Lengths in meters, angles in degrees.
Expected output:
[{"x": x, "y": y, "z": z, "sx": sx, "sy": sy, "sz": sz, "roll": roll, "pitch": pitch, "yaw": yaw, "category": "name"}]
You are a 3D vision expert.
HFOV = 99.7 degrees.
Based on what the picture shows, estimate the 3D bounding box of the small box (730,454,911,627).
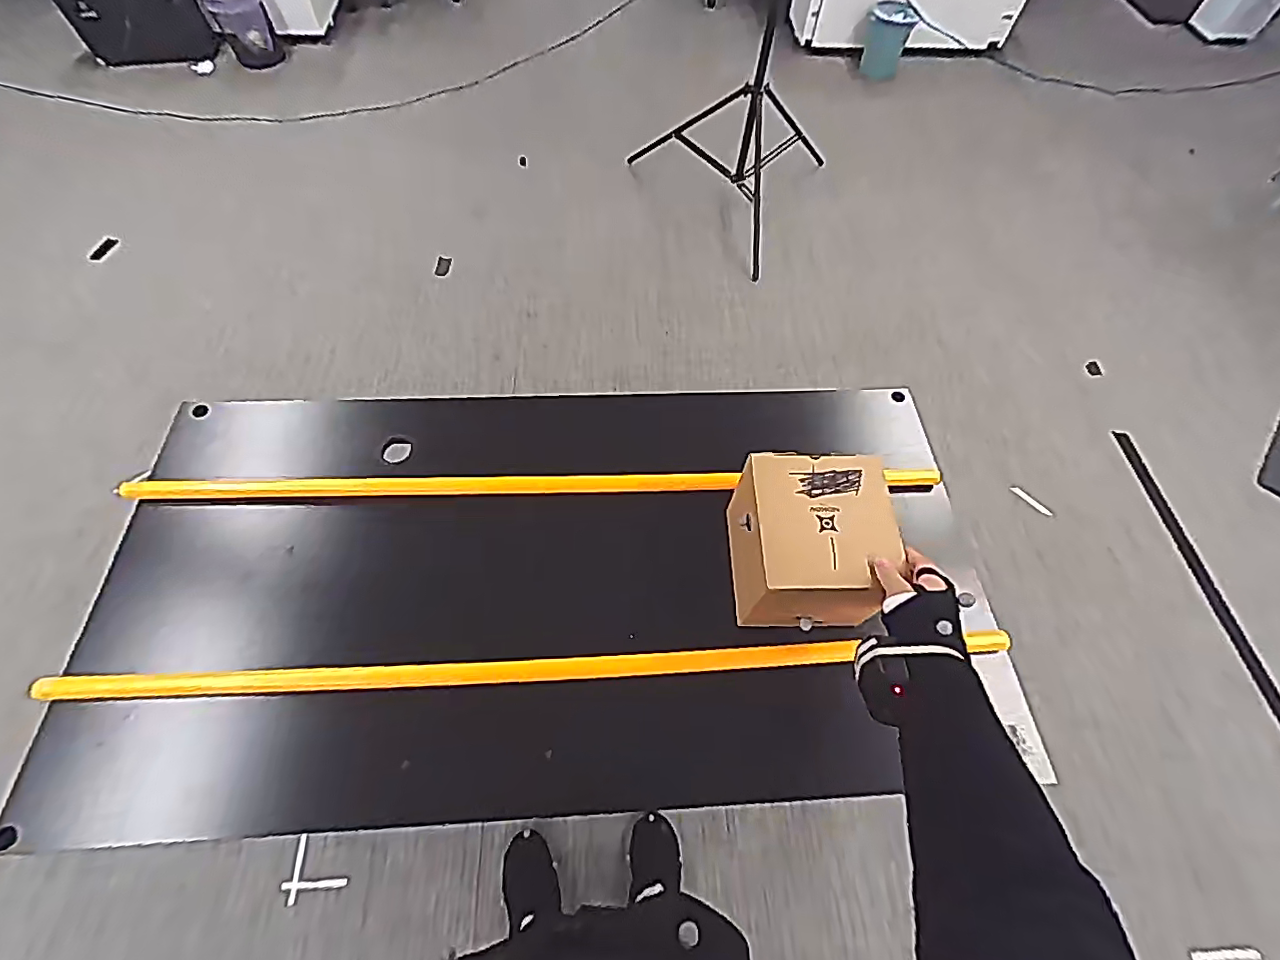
[{"x": 0.217, "y": 0.083, "z": 0.706, "sx": 0.168, "sy": 0.176, "sz": 0.179, "roll": 0, "pitch": 61, "yaw": -1, "category": "small box"}]
